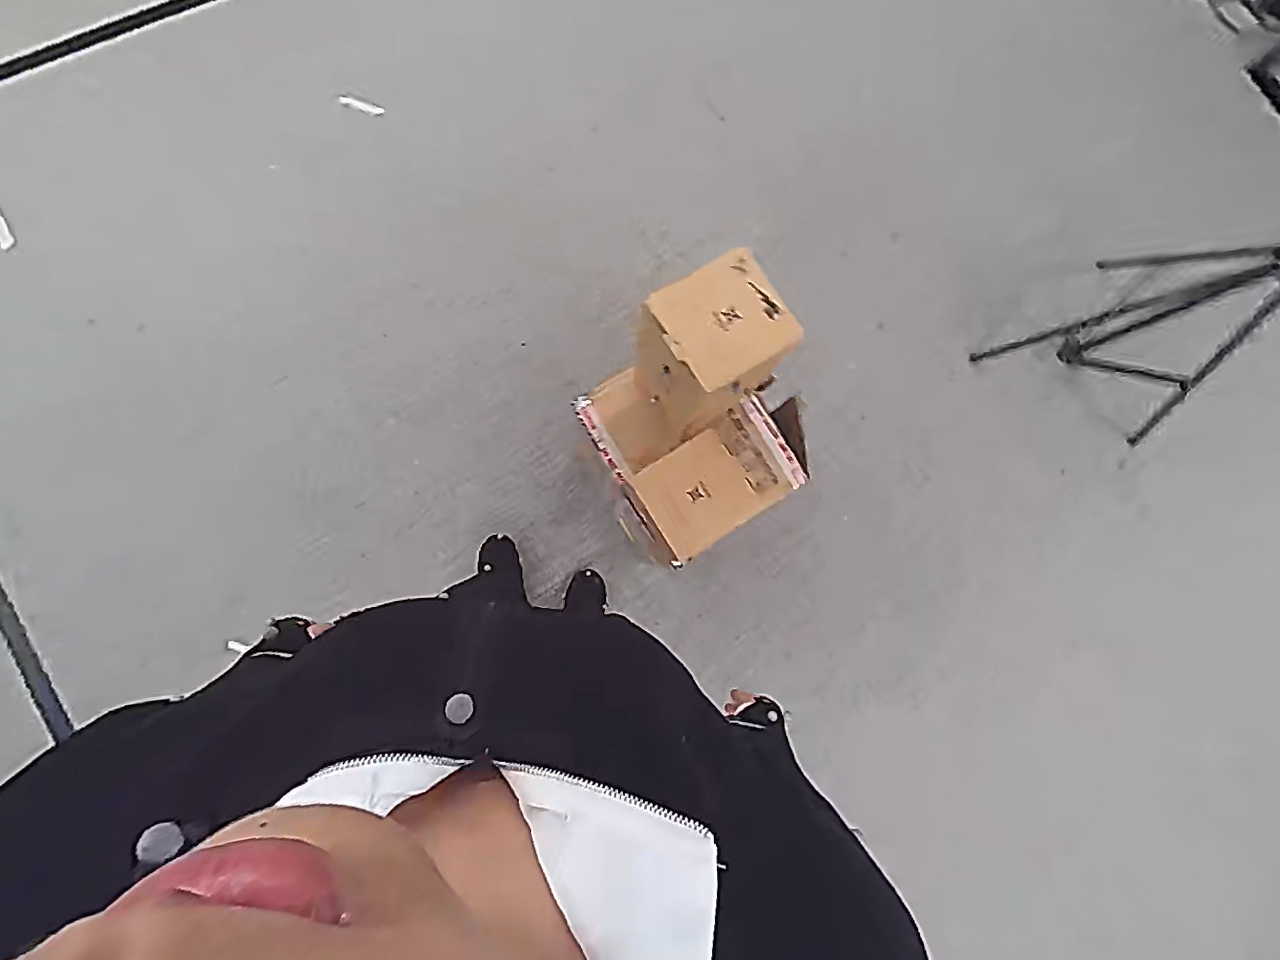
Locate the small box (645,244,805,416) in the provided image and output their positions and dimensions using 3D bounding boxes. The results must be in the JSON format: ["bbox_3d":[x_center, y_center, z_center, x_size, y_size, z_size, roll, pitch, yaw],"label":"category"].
[{"bbox_3d":[0.121,-0.223,0.849,0.179,0.176,0.168,-31,85,-6],"label":"small box"}]

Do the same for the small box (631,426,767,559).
[{"bbox_3d":[0.096,0.028,0.984,0.179,0.176,0.168,-32,85,-6],"label":"small box"}]

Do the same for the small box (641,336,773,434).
[{"bbox_3d":[0.116,-0.209,1.013,0.179,0.176,0.168,-32,84,-7],"label":"small box"}]
